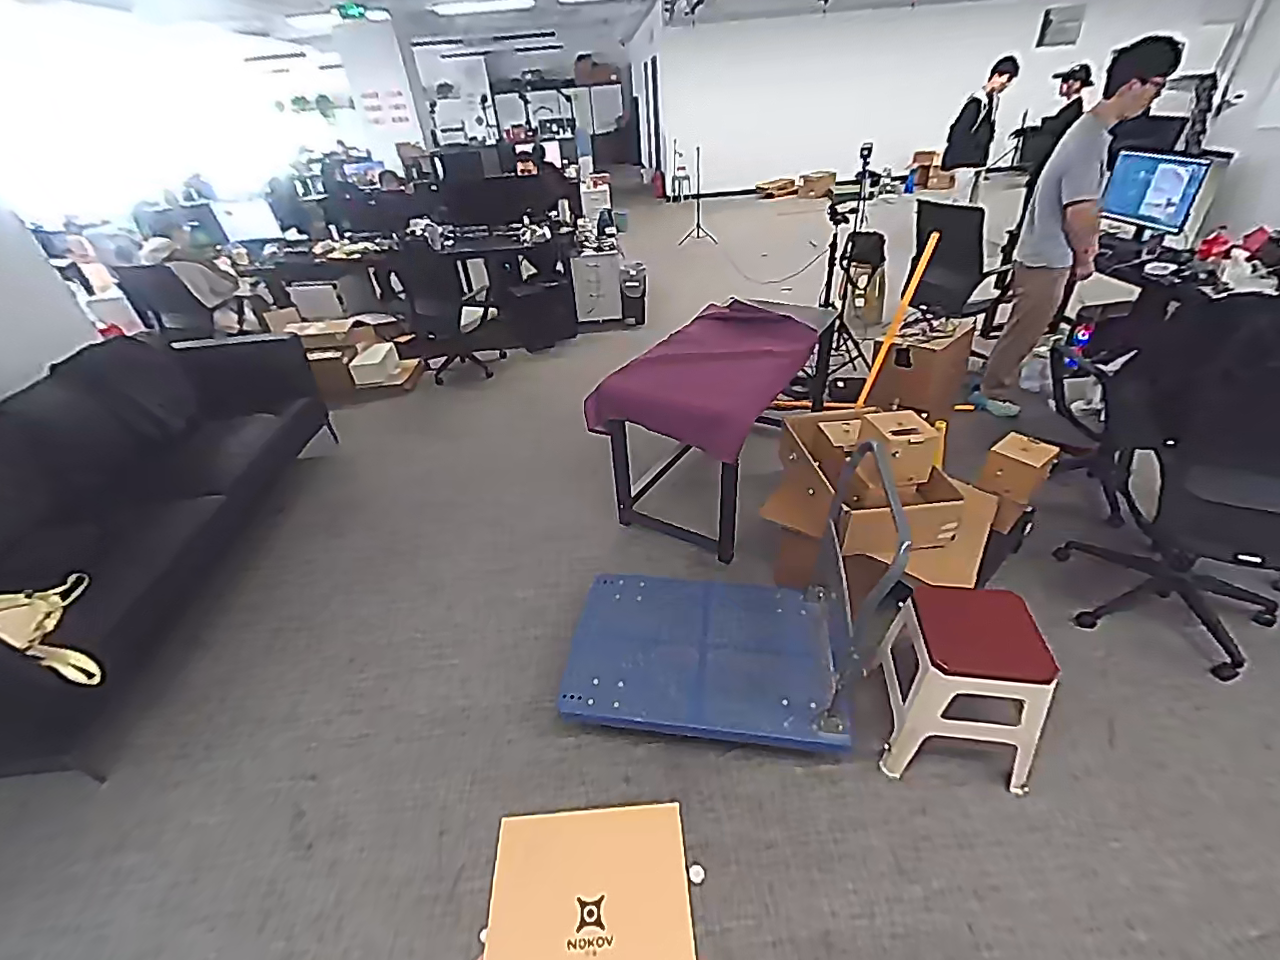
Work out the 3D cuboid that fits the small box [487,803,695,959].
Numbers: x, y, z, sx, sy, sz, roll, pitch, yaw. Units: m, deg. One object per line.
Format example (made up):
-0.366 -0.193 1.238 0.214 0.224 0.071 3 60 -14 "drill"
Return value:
-0.037 0.424 0.488 0.168 0.176 0.179 -4 37 0 "small box"
